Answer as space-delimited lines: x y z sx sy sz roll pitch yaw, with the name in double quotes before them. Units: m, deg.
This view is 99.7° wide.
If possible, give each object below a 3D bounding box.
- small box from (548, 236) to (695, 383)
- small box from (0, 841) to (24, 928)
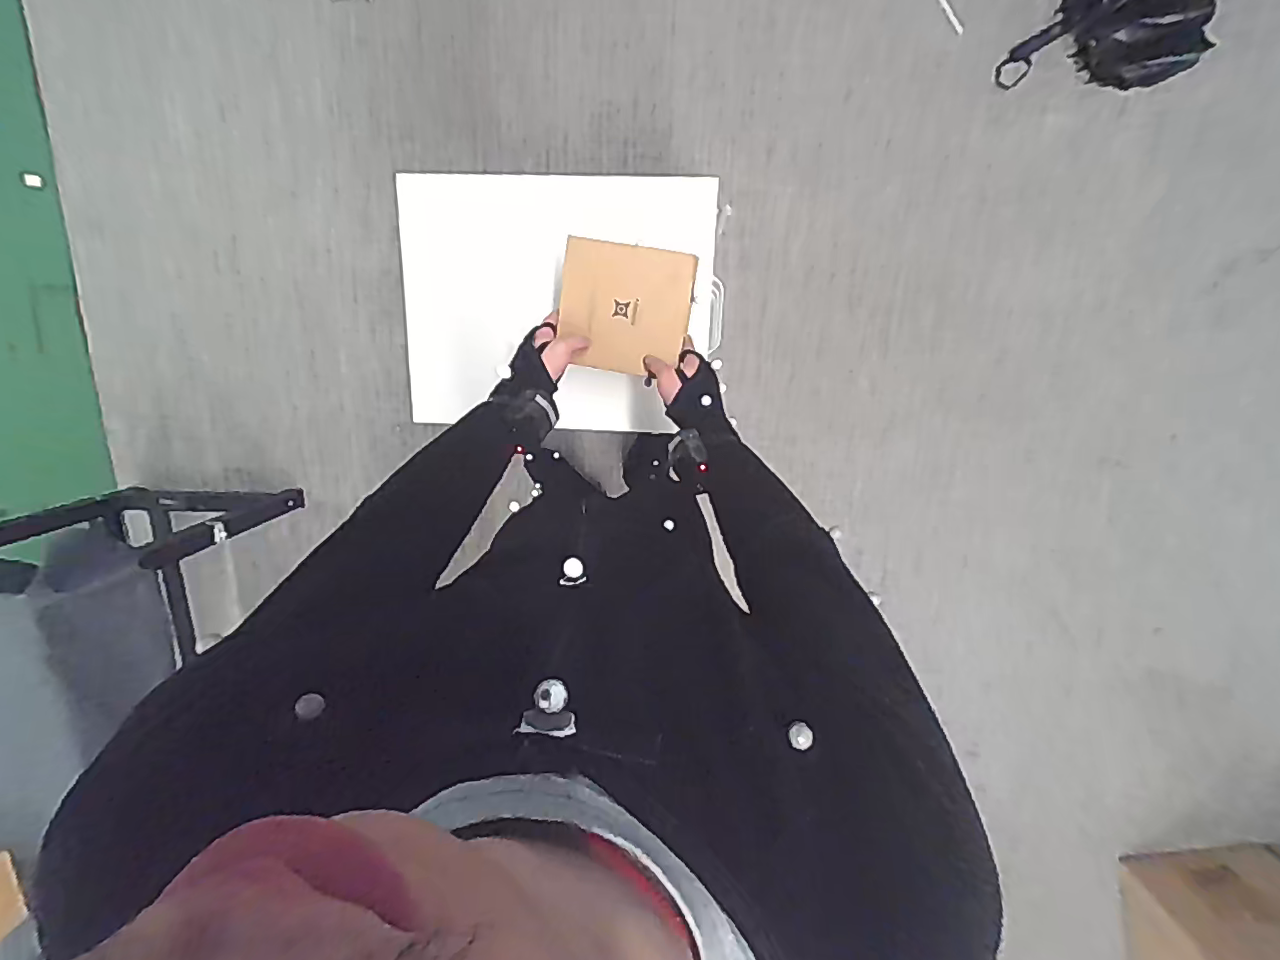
"small box" -0.022 -0.239 0.789 0.179 0.176 0.168 10 101 3
"small box" -1.363 0.827 1.040 0.168 0.176 0.179 3 104 4
